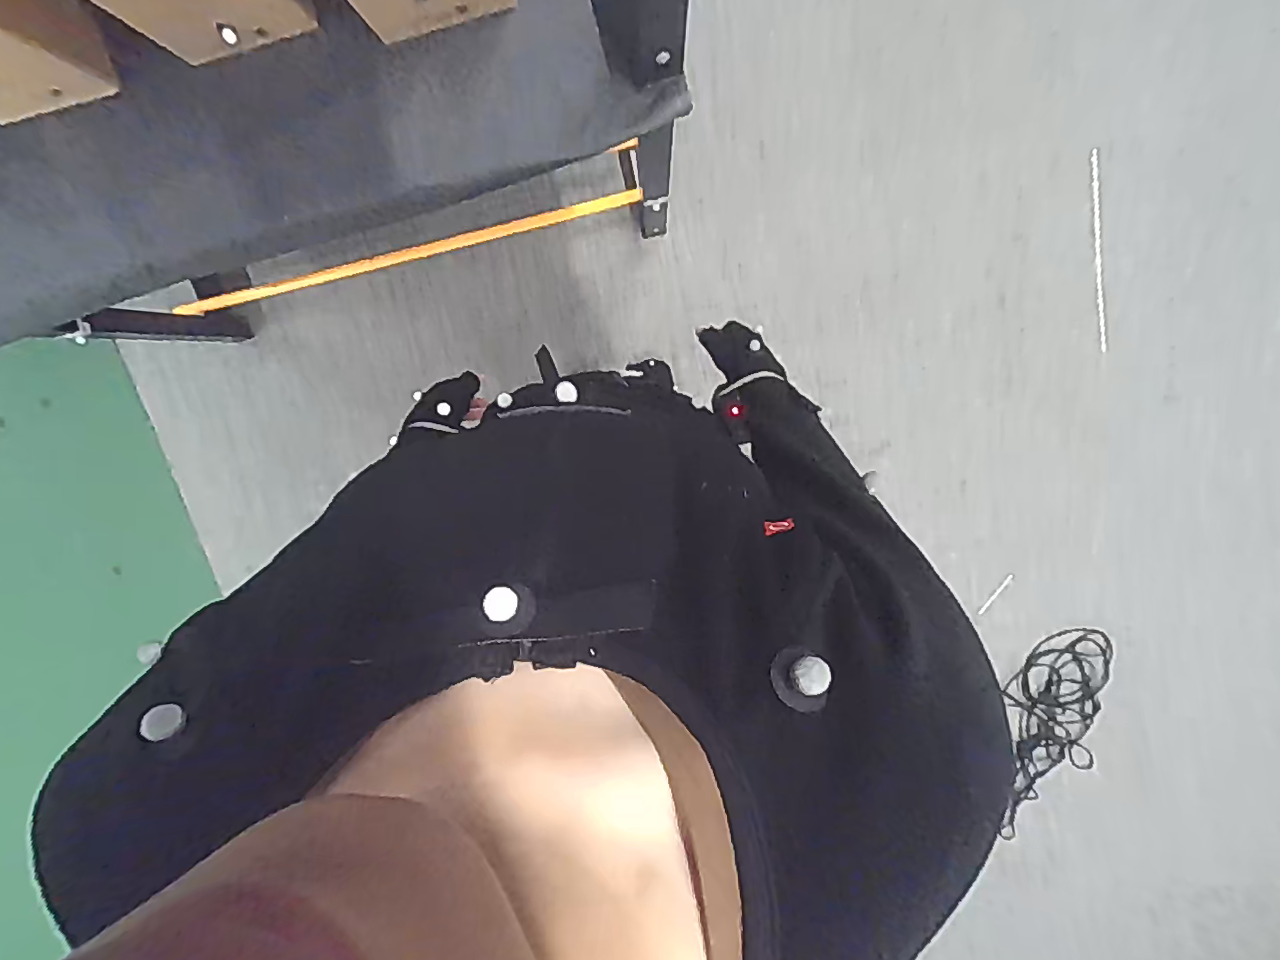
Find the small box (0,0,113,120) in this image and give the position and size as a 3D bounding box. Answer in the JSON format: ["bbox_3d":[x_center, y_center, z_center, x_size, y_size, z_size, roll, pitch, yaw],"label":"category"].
[{"bbox_3d":[-0.727,-0.512,0.567,0.168,0.176,0.179,-12,102,4],"label":"small box"}]

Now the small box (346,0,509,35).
[{"bbox_3d":[-0.244,-0.589,0.535,0.168,0.176,0.179,-12,101,4],"label":"small box"}]
